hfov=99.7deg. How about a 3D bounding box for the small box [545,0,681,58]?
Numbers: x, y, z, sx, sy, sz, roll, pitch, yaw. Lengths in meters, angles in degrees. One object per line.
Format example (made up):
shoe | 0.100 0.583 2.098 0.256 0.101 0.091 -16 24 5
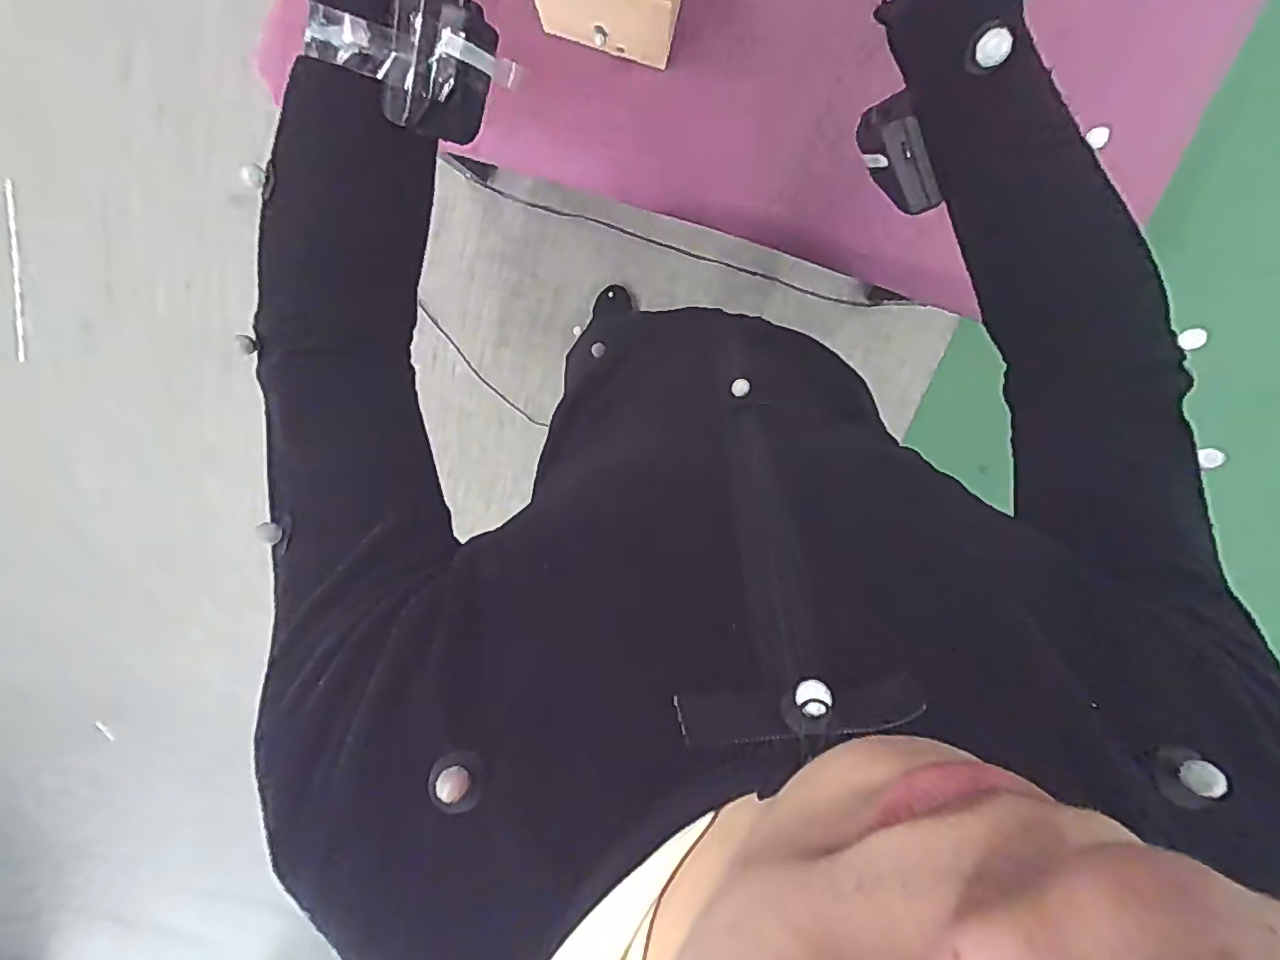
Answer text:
small box | -0.022 -0.625 0.602 0.168 0.176 0.179 14 108 -5
